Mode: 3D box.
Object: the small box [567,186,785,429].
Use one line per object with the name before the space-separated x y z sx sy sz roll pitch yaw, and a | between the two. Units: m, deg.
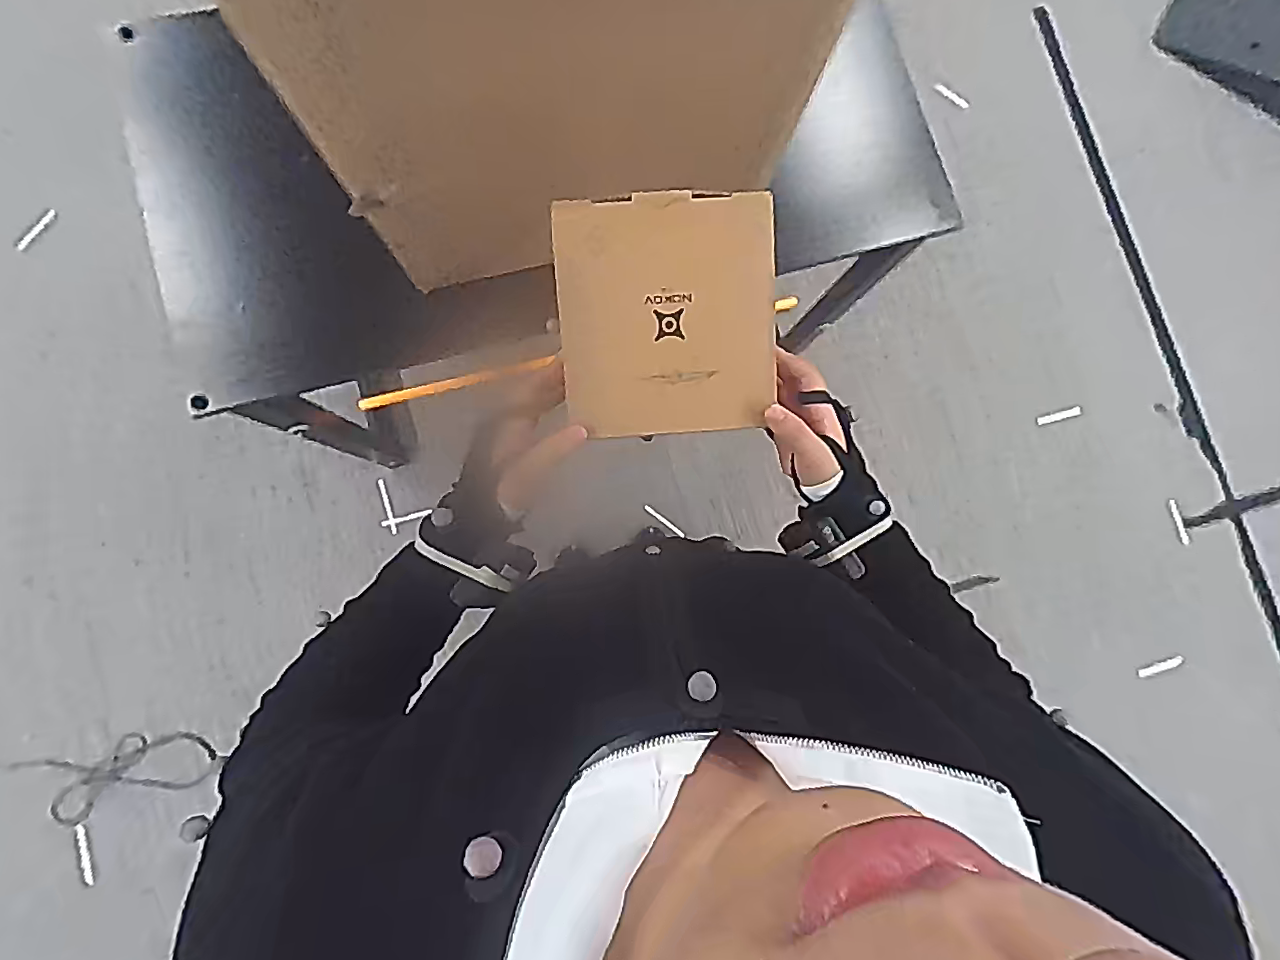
small box | 0.024 -0.142 0.489 0.168 0.176 0.179 -4 101 -3
